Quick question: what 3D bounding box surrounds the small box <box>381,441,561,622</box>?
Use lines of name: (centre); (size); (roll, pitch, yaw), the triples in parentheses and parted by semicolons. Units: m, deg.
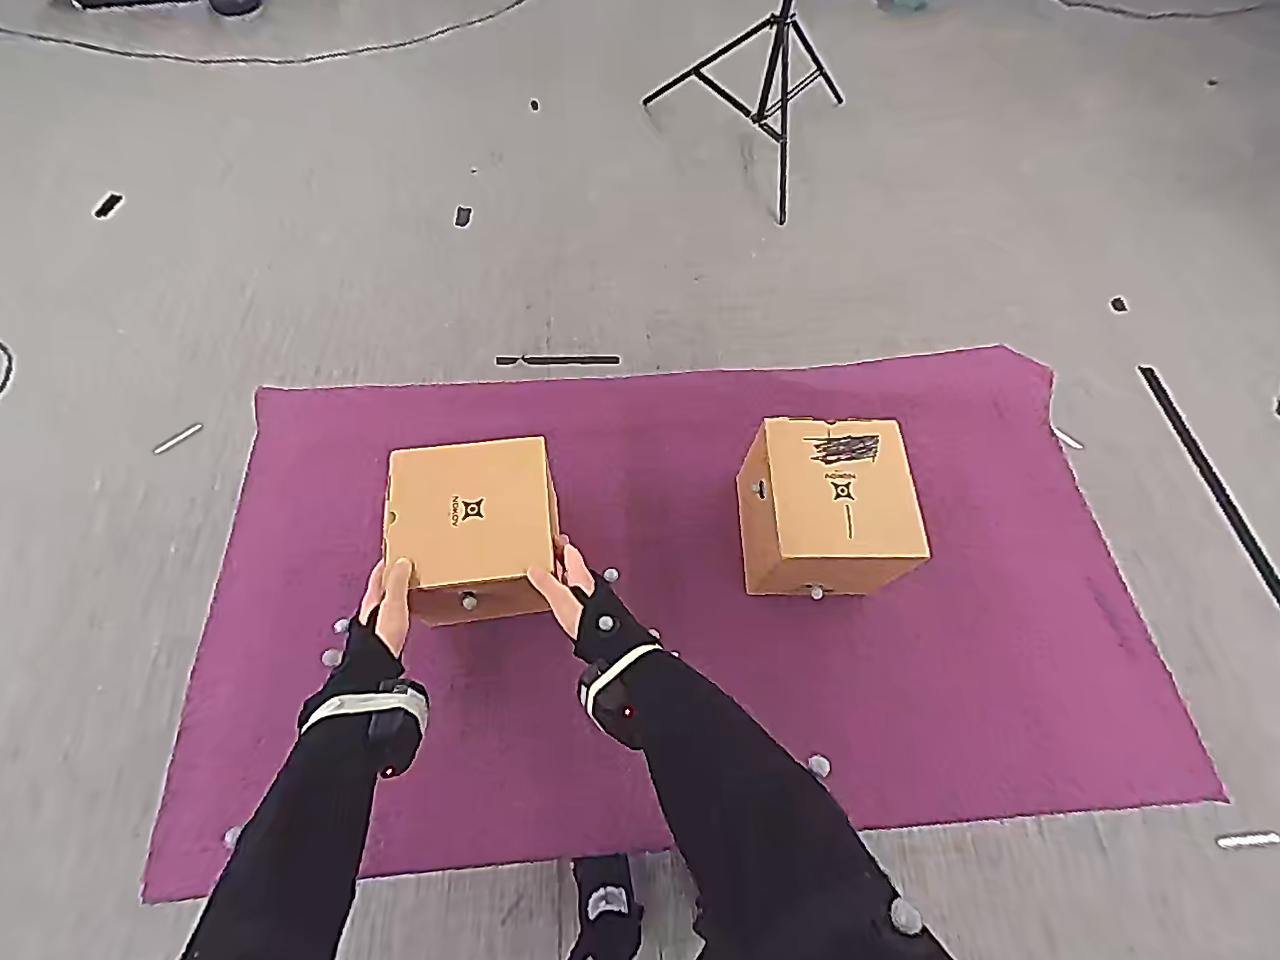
small box: (-0.191, 0.069, 0.661); (0.179, 0.176, 0.168); (-7, 65, -5)

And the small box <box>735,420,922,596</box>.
small box: (0.222, 0.041, 0.691); (0.168, 0.176, 0.179); (1, 65, -2)
